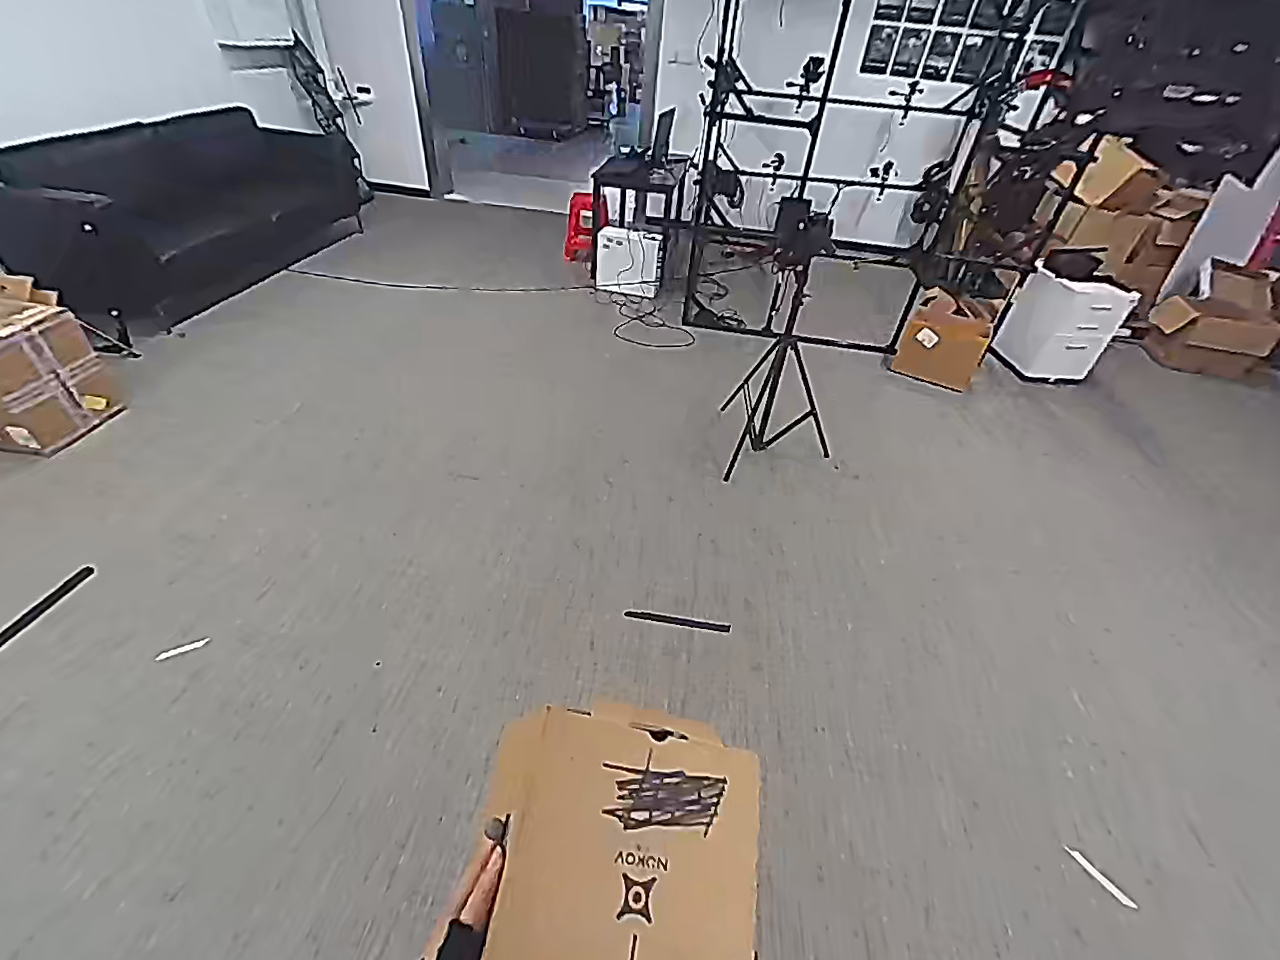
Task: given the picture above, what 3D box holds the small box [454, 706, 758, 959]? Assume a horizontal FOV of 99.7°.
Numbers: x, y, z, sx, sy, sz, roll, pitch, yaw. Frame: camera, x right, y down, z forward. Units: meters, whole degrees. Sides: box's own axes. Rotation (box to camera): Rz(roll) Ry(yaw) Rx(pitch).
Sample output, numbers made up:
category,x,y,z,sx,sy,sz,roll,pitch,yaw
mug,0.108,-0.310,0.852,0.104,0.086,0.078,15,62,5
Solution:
category,x,y,z,sx,sy,sz,roll,pitch,yaw
small box,-0.029,0.287,0.403,0.168,0.176,0.179,19,56,-13
